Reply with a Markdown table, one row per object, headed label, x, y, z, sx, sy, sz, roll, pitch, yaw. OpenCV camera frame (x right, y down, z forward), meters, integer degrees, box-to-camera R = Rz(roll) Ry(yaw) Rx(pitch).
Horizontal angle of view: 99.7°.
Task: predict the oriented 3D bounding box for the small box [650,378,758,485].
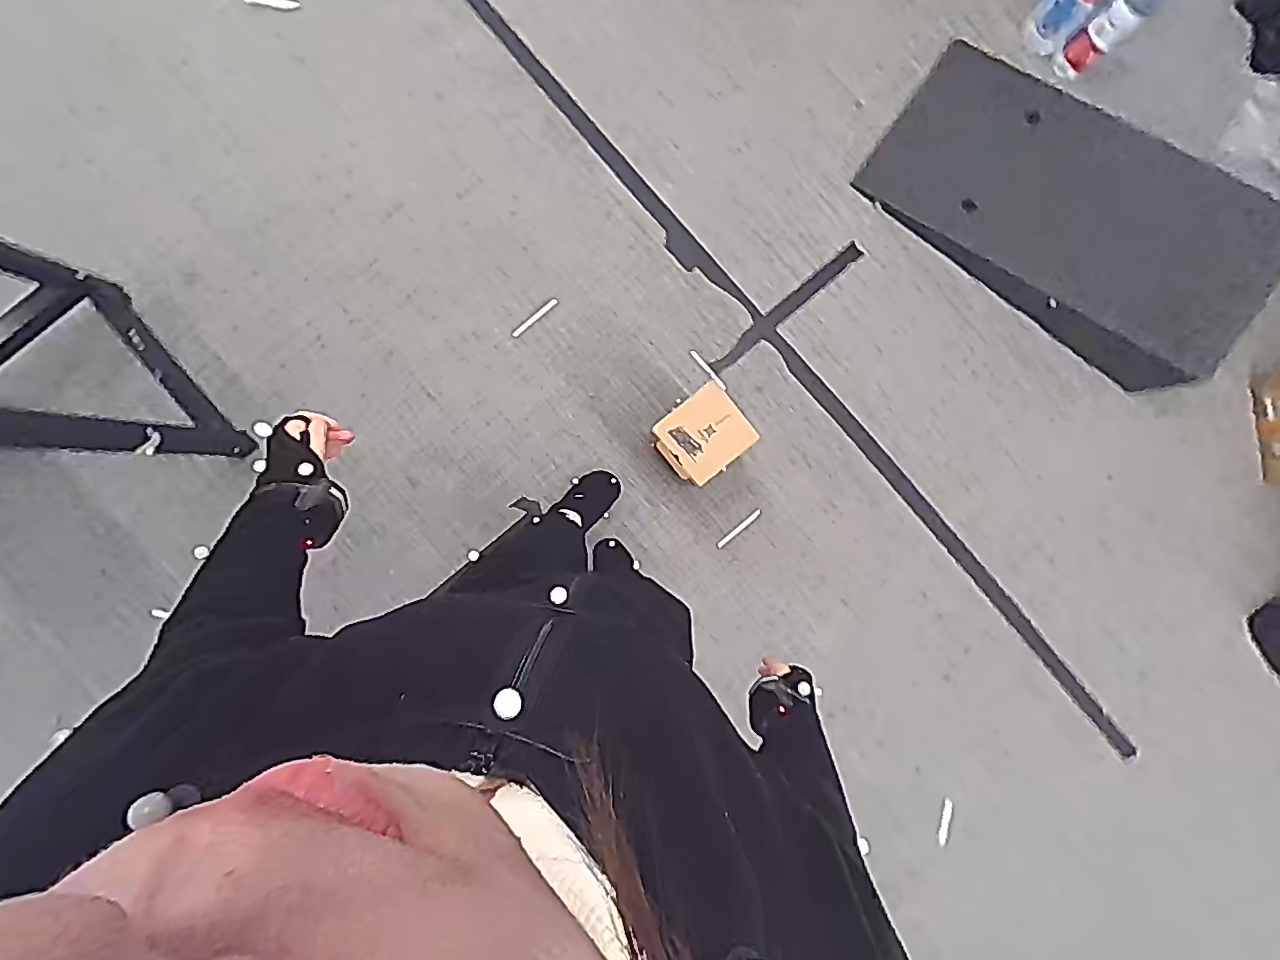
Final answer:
| label | x | y | z | sx | sy | sz | roll | pitch | yaw |
| --- | --- | --- | --- | --- | --- | --- | --- | --- | --- |
| small box | 0.136 | -0.103 | 1.230 | 0.179 | 0.176 | 0.168 | -39 | 93 | -2 |
